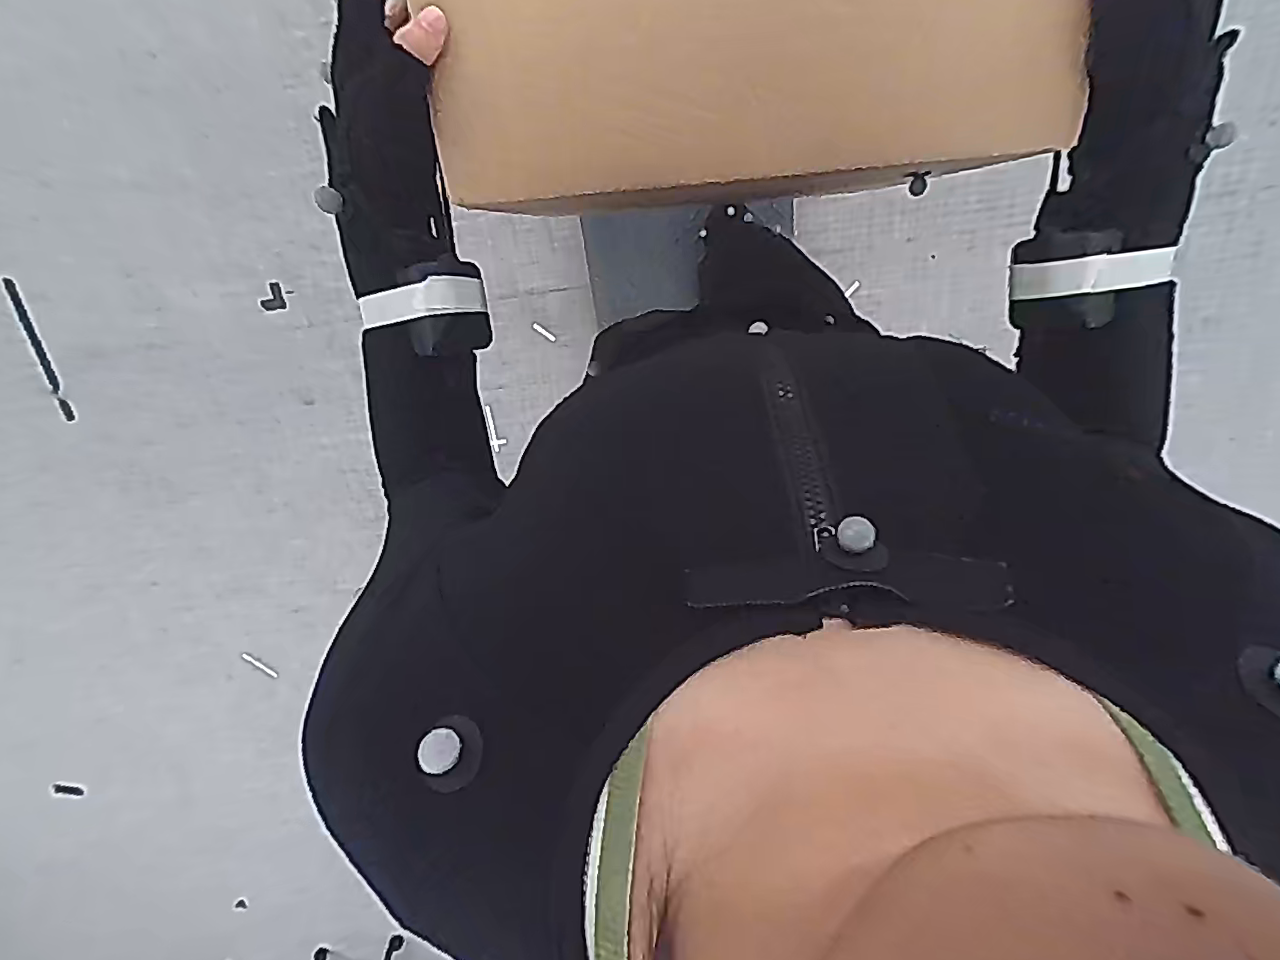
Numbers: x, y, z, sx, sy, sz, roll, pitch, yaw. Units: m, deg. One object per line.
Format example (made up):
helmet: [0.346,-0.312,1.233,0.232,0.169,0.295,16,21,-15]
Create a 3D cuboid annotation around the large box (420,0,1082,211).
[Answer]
large box: [0.064,-0.407,0.433,0.408,0.320,0.320,-4,114,3]
